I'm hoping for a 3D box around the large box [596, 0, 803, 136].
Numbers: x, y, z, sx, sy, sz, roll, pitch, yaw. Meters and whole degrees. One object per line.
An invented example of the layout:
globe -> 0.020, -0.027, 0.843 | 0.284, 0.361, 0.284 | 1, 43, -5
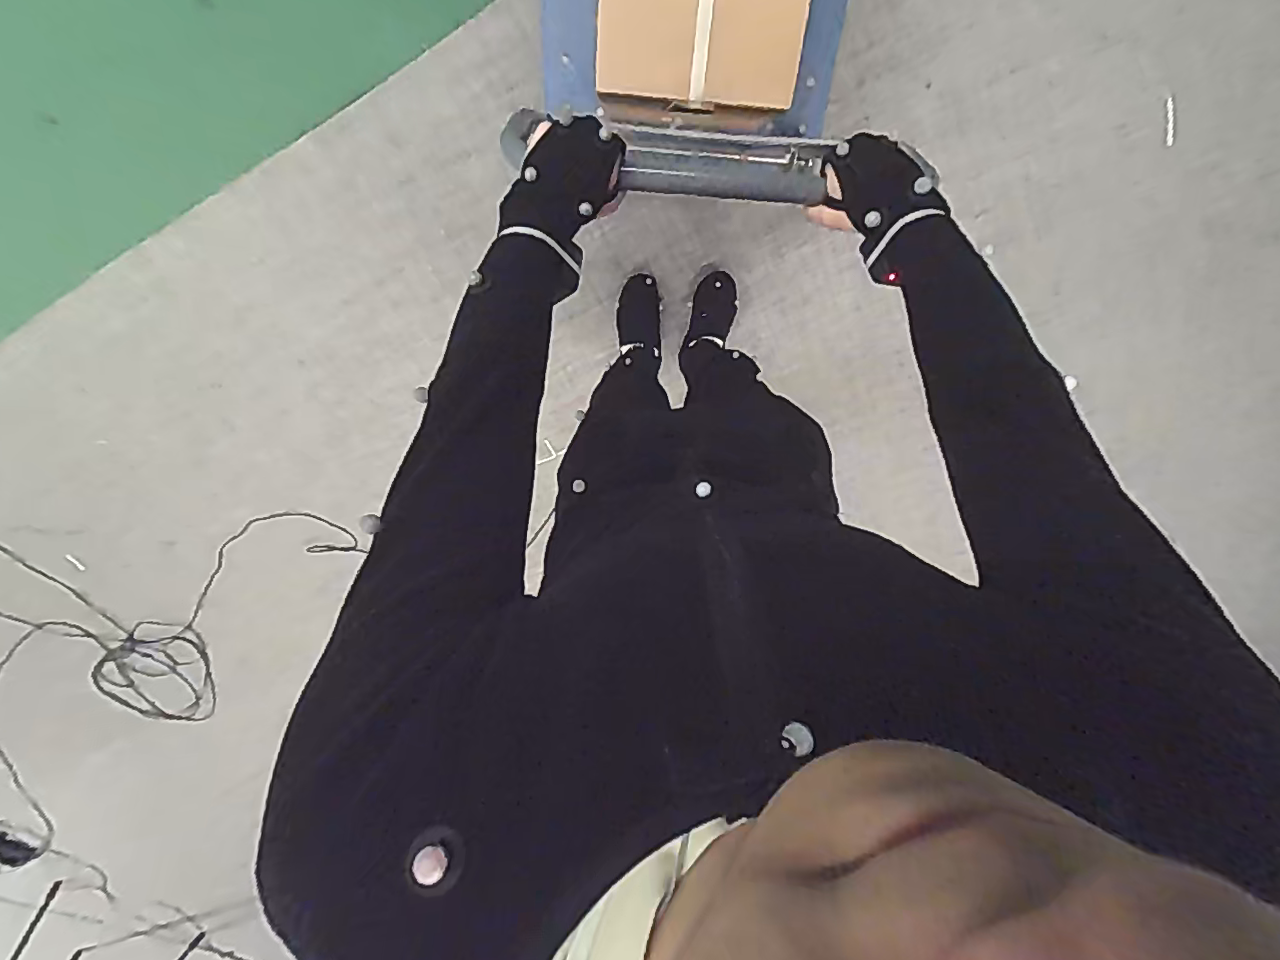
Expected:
large box -> 0.098, -0.844, 0.919 | 0.320, 0.320, 0.408 | 4, 117, -2
